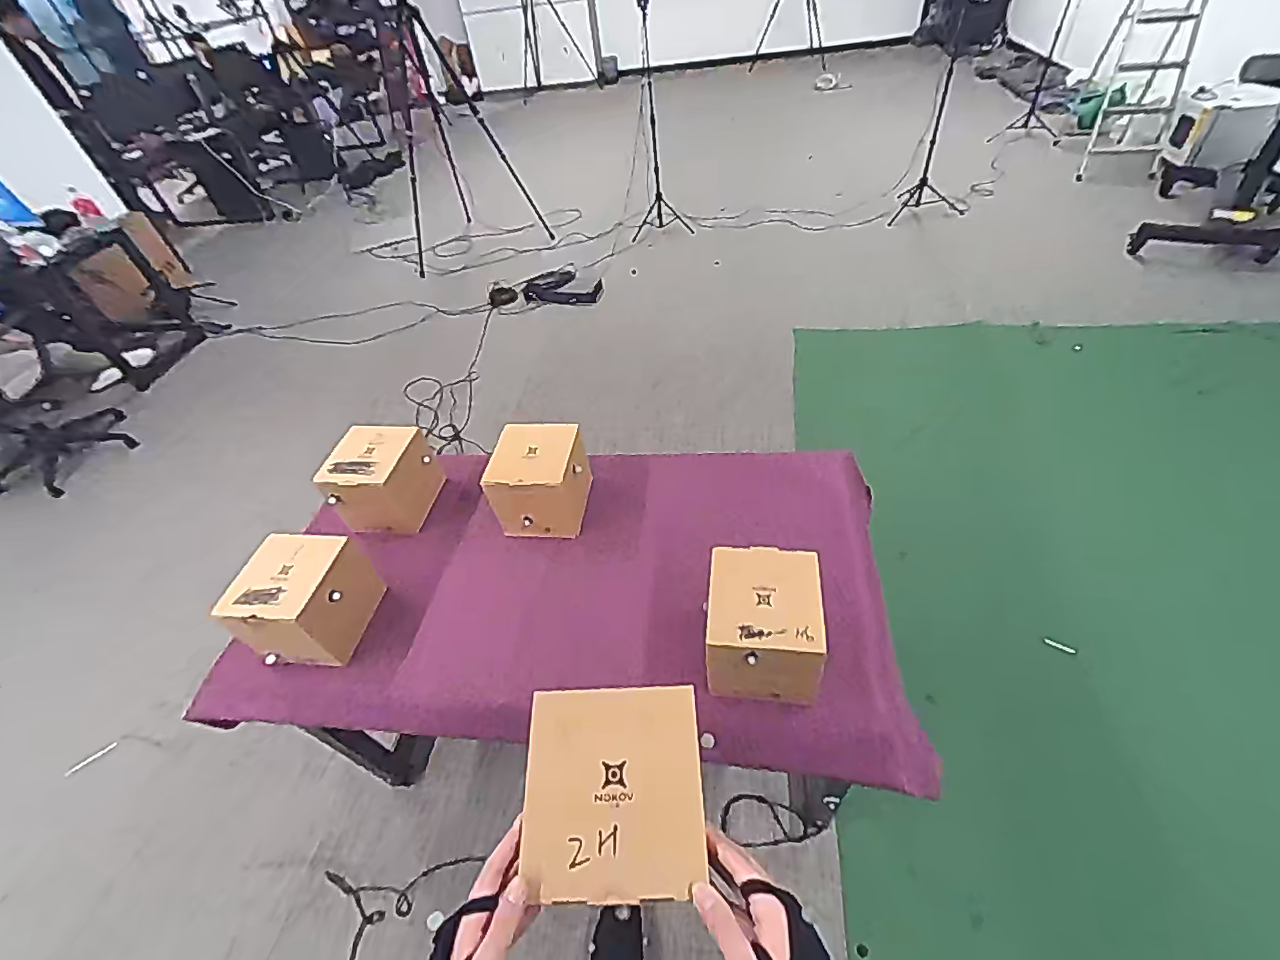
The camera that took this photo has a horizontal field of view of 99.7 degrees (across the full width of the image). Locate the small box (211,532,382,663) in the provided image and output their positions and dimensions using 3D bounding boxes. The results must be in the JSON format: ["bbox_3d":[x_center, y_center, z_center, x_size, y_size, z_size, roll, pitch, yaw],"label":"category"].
[{"bbox_3d":[-0.609,0.217,0.990,0.168,0.176,0.179,2,45,9],"label":"small box"}]

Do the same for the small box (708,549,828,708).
[{"bbox_3d":[0.197,0.232,0.856,0.168,0.176,0.179,2,44,11],"label":"small box"}]

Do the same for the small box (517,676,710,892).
[{"bbox_3d":[-0.019,0.319,0.566,0.168,0.176,0.179,-3,54,3],"label":"small box"}]

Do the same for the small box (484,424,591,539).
[{"bbox_3d":[-0.206,0.002,1.145,0.168,0.176,0.179,1,47,9],"label":"small box"}]
